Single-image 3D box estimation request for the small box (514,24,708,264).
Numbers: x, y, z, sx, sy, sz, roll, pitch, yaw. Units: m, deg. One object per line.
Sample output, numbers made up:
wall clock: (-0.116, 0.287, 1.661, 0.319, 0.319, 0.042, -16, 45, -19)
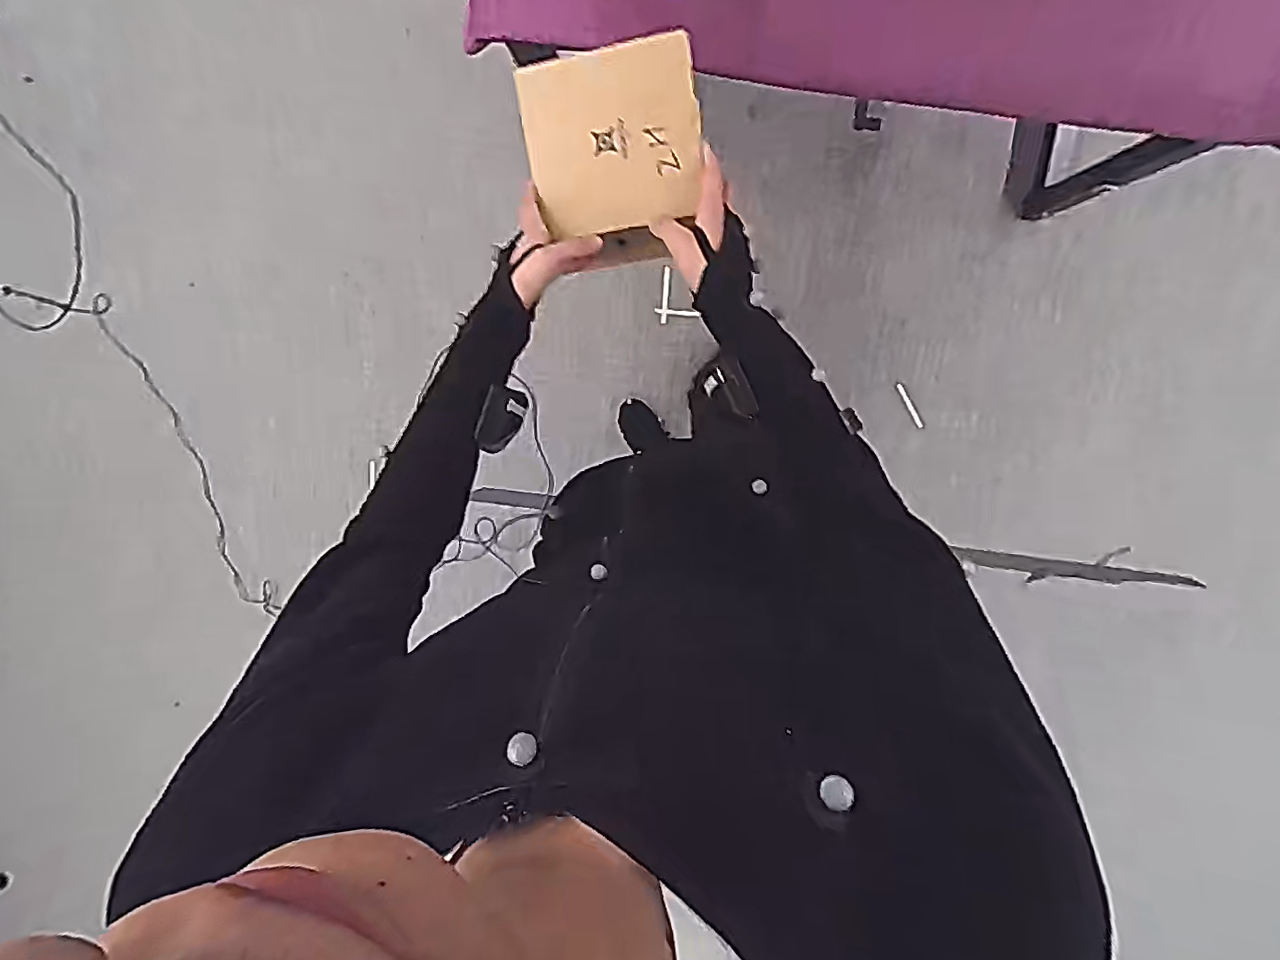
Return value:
small box: (-0.020, -0.354, 0.608, 0.179, 0.176, 0.168, -7, 101, 6)
